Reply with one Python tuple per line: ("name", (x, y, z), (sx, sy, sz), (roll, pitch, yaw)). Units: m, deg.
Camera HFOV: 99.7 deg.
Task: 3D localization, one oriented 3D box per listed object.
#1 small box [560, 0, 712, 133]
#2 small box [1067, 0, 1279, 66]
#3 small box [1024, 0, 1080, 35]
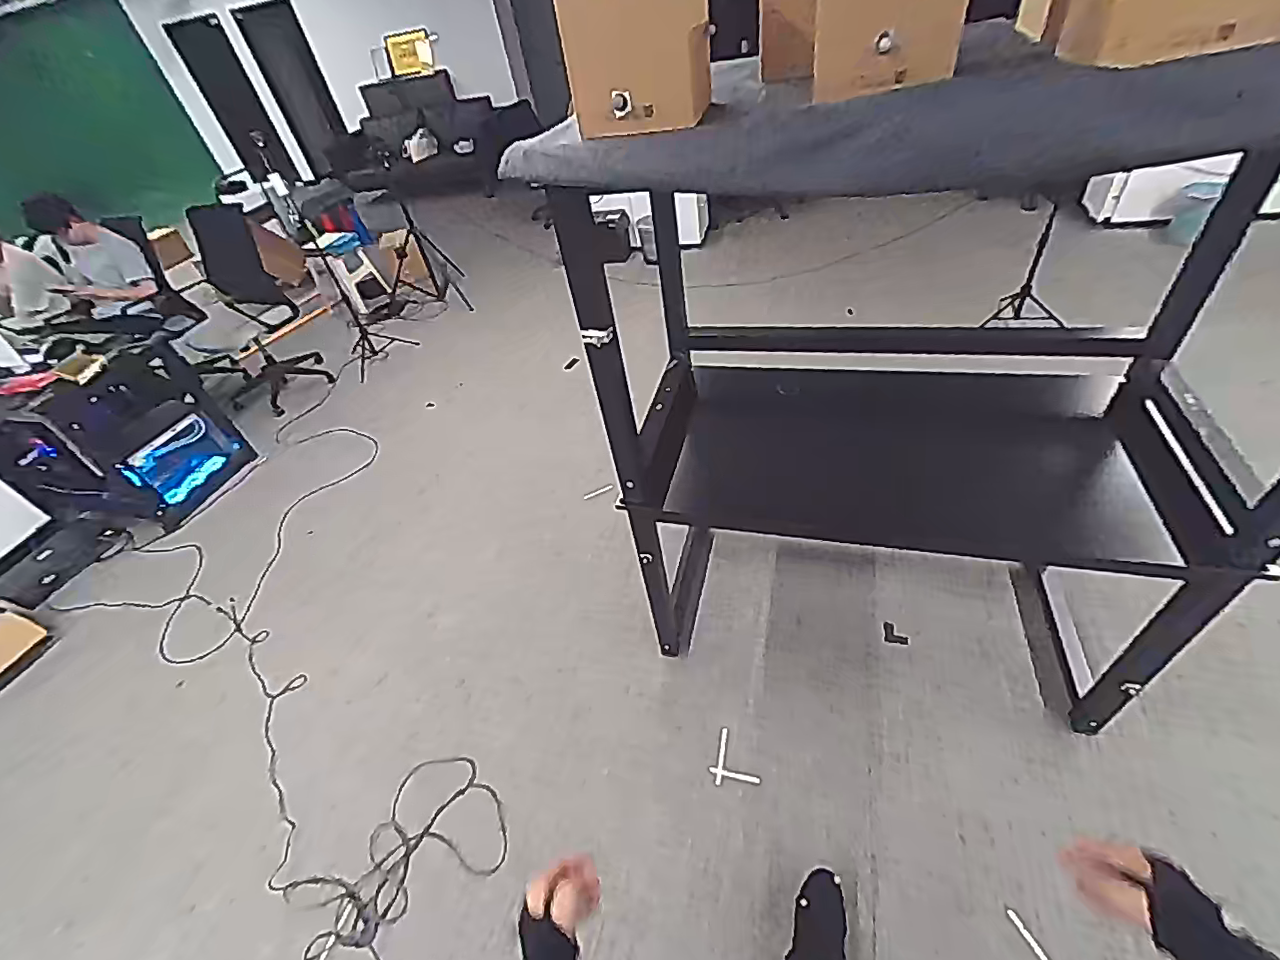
("small box", (0.004, -0.586, 0.729), (0.168, 0.176, 0.179), (3, 44, 15))
("small box", (0.596, -0.555, 0.569), (0.168, 0.176, 0.179), (4, 42, 16))
("small box", (0.671, -0.746, 0.756), (0.168, 0.176, 0.179), (4, 45, 17))
